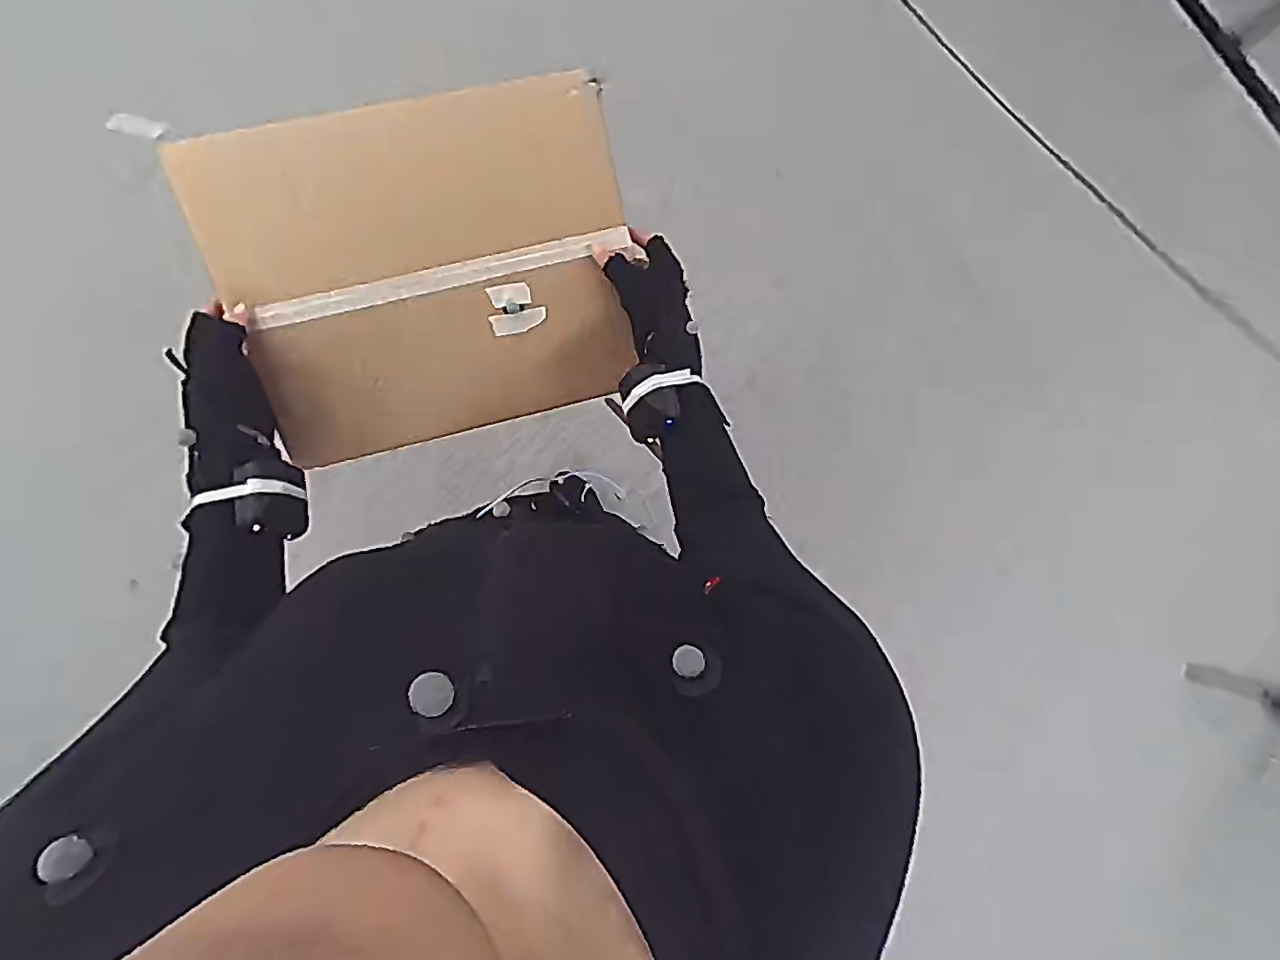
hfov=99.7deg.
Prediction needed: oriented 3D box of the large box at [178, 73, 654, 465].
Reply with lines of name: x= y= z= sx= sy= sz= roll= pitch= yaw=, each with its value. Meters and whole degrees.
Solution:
large box: x=-0.236 y=-0.246 z=0.705 sx=0.408 sy=0.320 sz=0.320 roll=-16 pitch=107 yaw=-7
